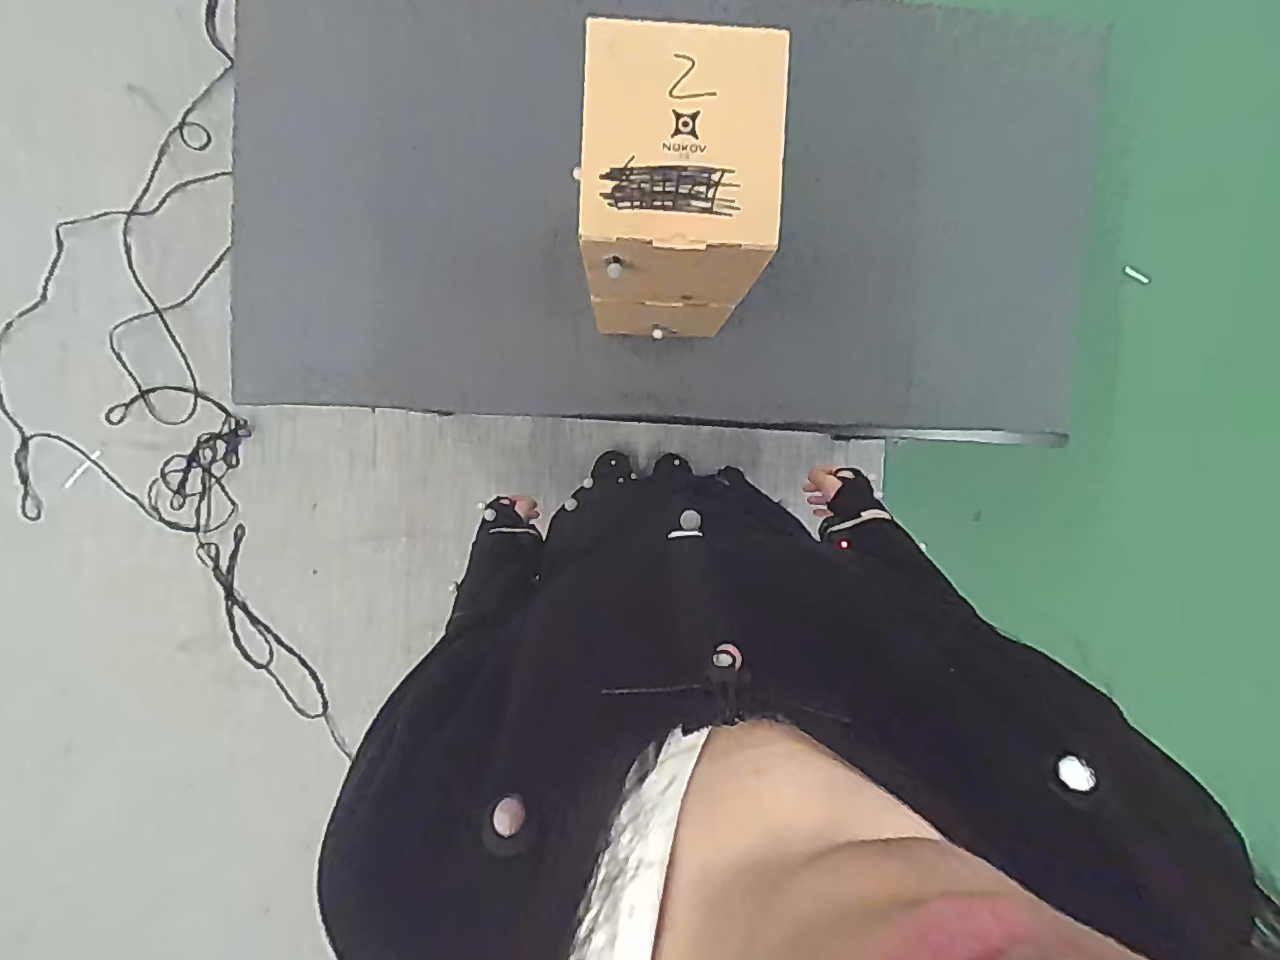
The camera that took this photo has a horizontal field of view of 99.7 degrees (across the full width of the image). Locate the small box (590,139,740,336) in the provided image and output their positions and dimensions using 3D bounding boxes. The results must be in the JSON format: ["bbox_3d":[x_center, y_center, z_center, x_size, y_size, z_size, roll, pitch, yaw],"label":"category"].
[{"bbox_3d":[0.025,-0.292,0.685,0.168,0.176,0.179,2,93,-2],"label":"small box"}]
